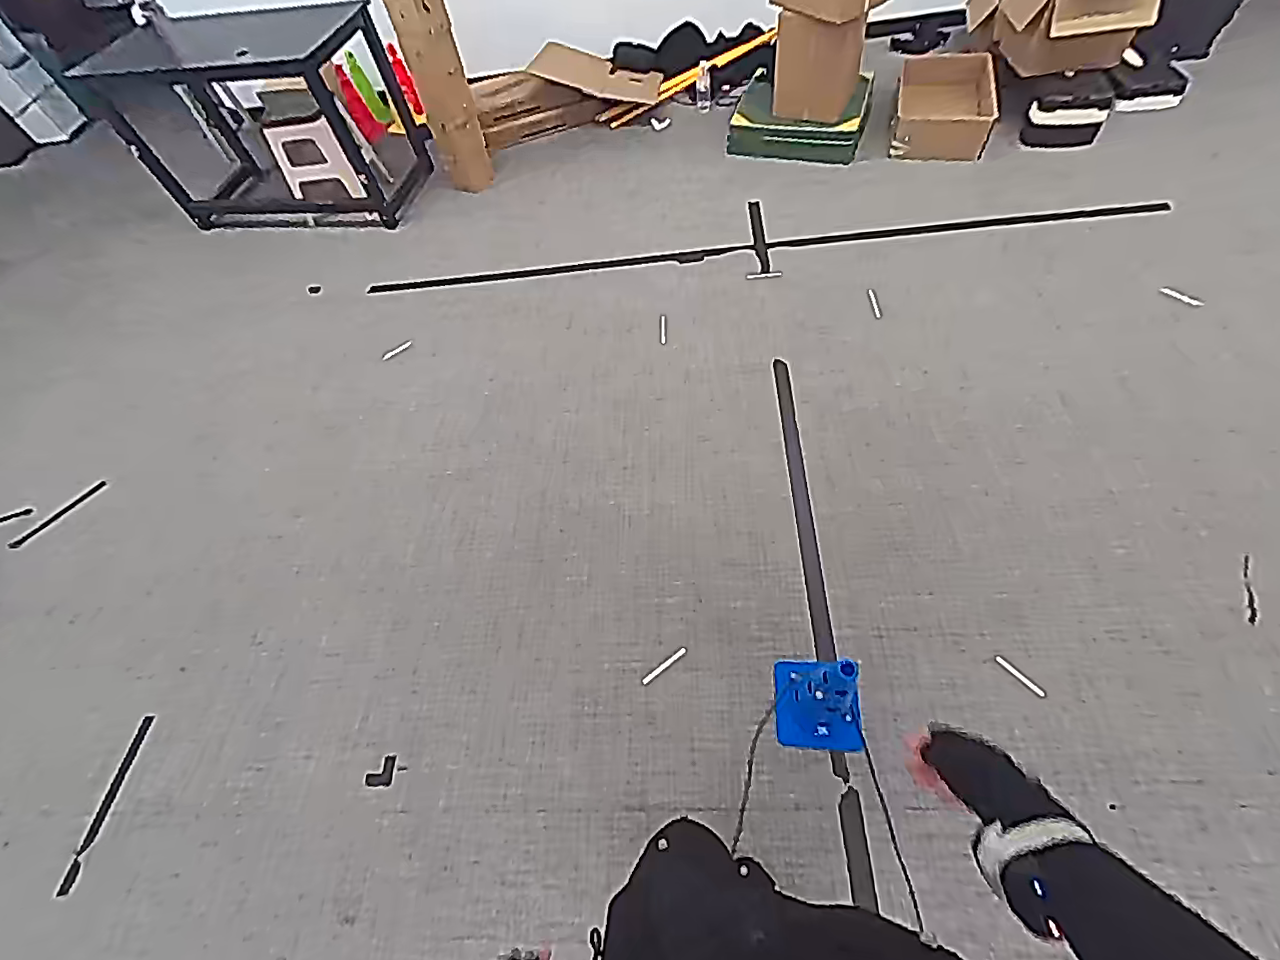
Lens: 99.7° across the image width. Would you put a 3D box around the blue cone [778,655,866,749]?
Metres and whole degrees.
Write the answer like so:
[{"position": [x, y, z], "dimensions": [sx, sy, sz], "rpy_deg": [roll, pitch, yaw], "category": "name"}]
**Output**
[{"position": [0.413, 0.451, 1.156], "dimensions": [0.193, 0.380, 0.192], "rpy_deg": [-1, 58, 8], "category": "blue cone"}]
